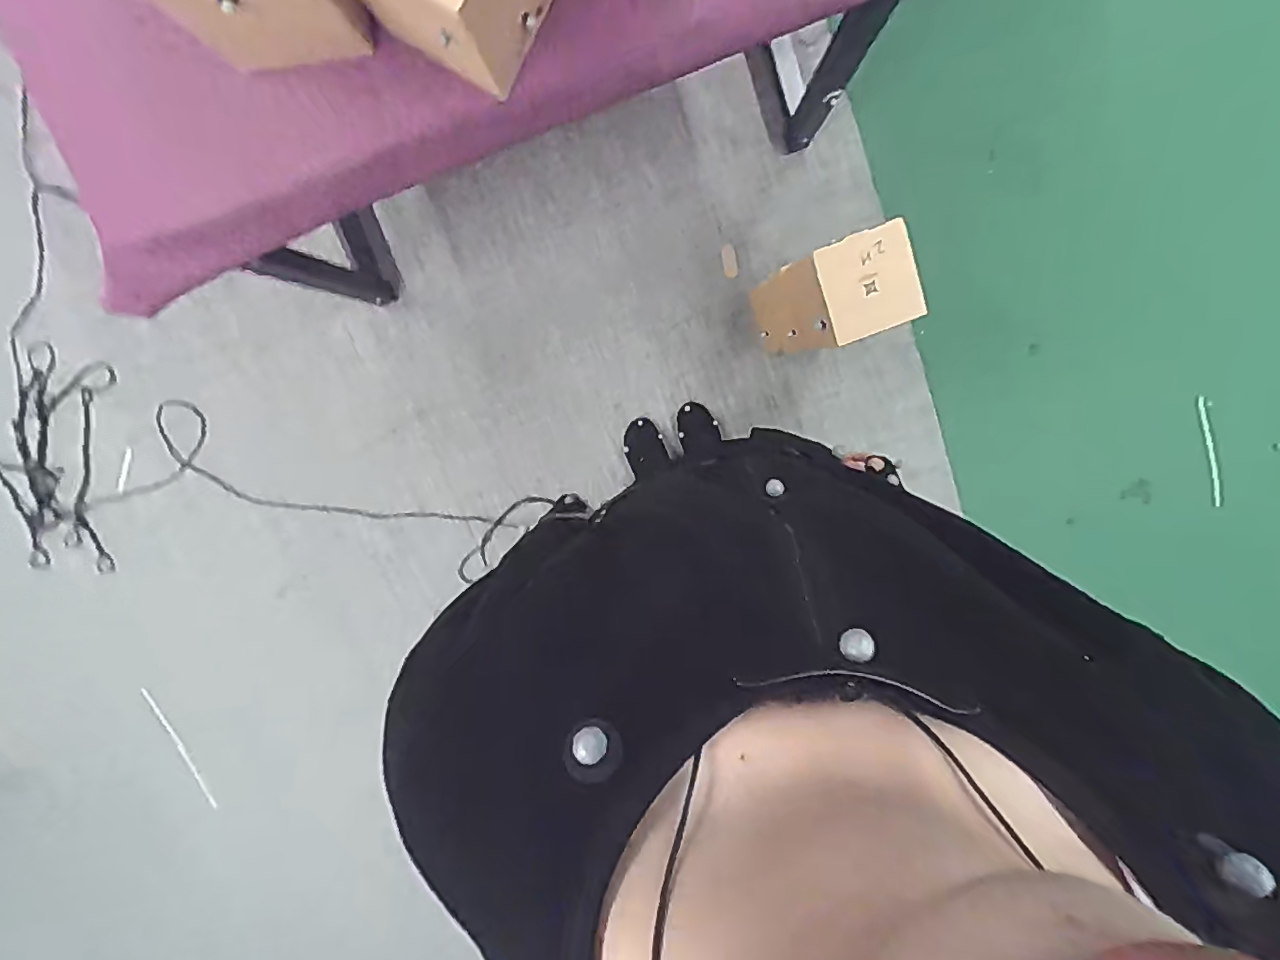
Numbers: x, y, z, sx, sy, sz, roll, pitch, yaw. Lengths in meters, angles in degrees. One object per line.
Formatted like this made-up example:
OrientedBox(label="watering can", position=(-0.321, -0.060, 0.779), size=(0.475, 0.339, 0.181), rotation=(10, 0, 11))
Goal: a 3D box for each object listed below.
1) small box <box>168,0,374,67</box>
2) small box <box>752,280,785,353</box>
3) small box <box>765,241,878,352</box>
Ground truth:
OrientedBox(label="small box", position=(-0.431, -0.597, 0.598), size=(0.179, 0.176, 0.168), rotation=(-6, 100, 2))
OrientedBox(label="small box", position=(0.386, -0.421, 1.347), size=(0.179, 0.176, 0.168), rotation=(-18, 100, 4))
OrientedBox(label="small box", position=(0.388, -0.391, 1.188), size=(0.168, 0.176, 0.179), rotation=(-20, 101, 5))
